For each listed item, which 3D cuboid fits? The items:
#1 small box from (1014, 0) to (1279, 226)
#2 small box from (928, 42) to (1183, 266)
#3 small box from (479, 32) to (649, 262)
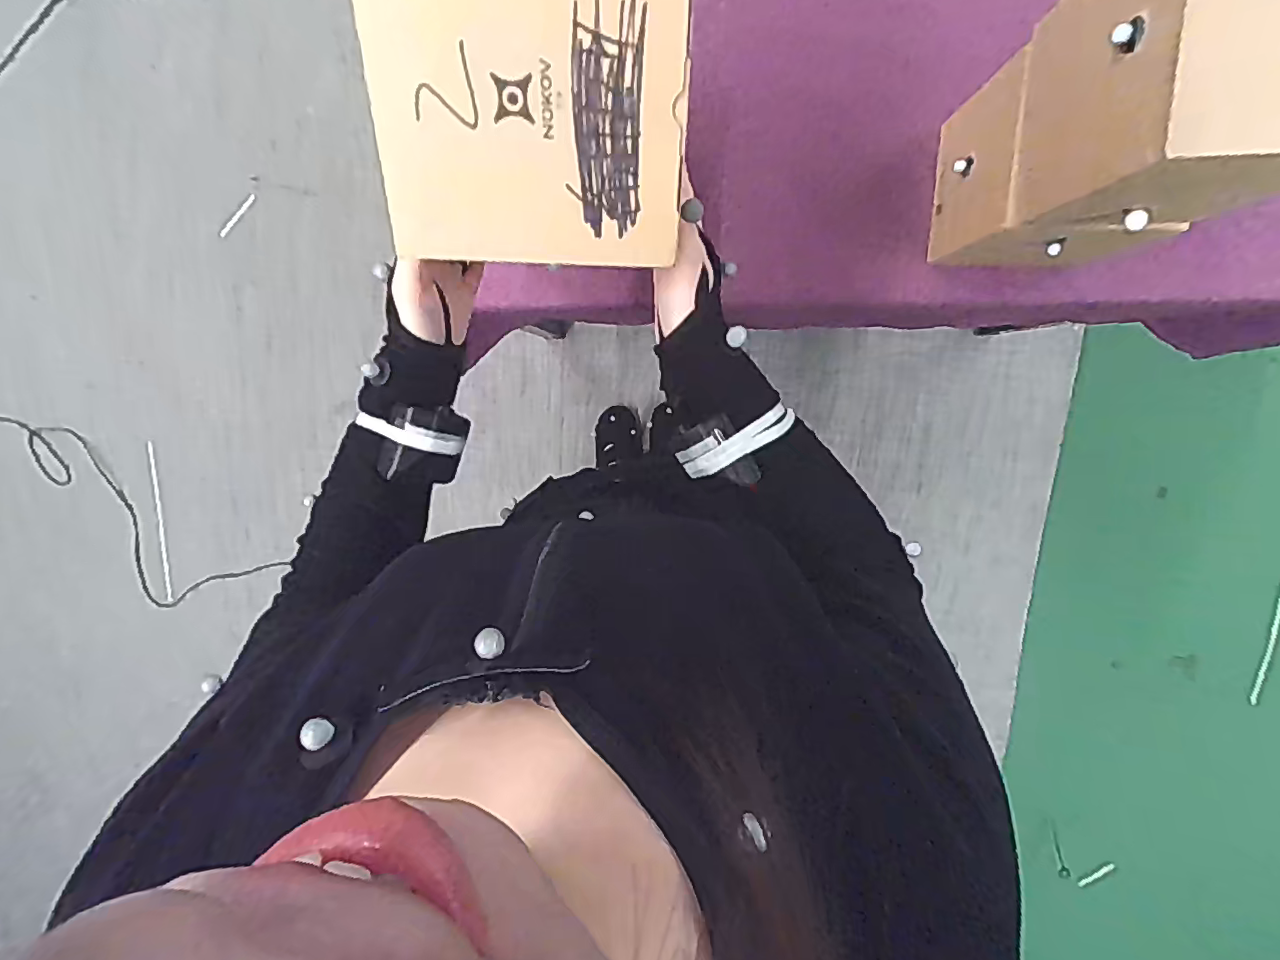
[{"bbox_3d":[0.435,-0.318,0.428,0.168,0.176,0.179,0,100,4],"label":"small box"},{"bbox_3d":[0.444,-0.338,0.592,0.179,0.176,0.168,3,100,3],"label":"small box"},{"bbox_3d":[-0.076,-0.362,0.617,0.168,0.176,0.179,2,101,2],"label":"small box"}]
